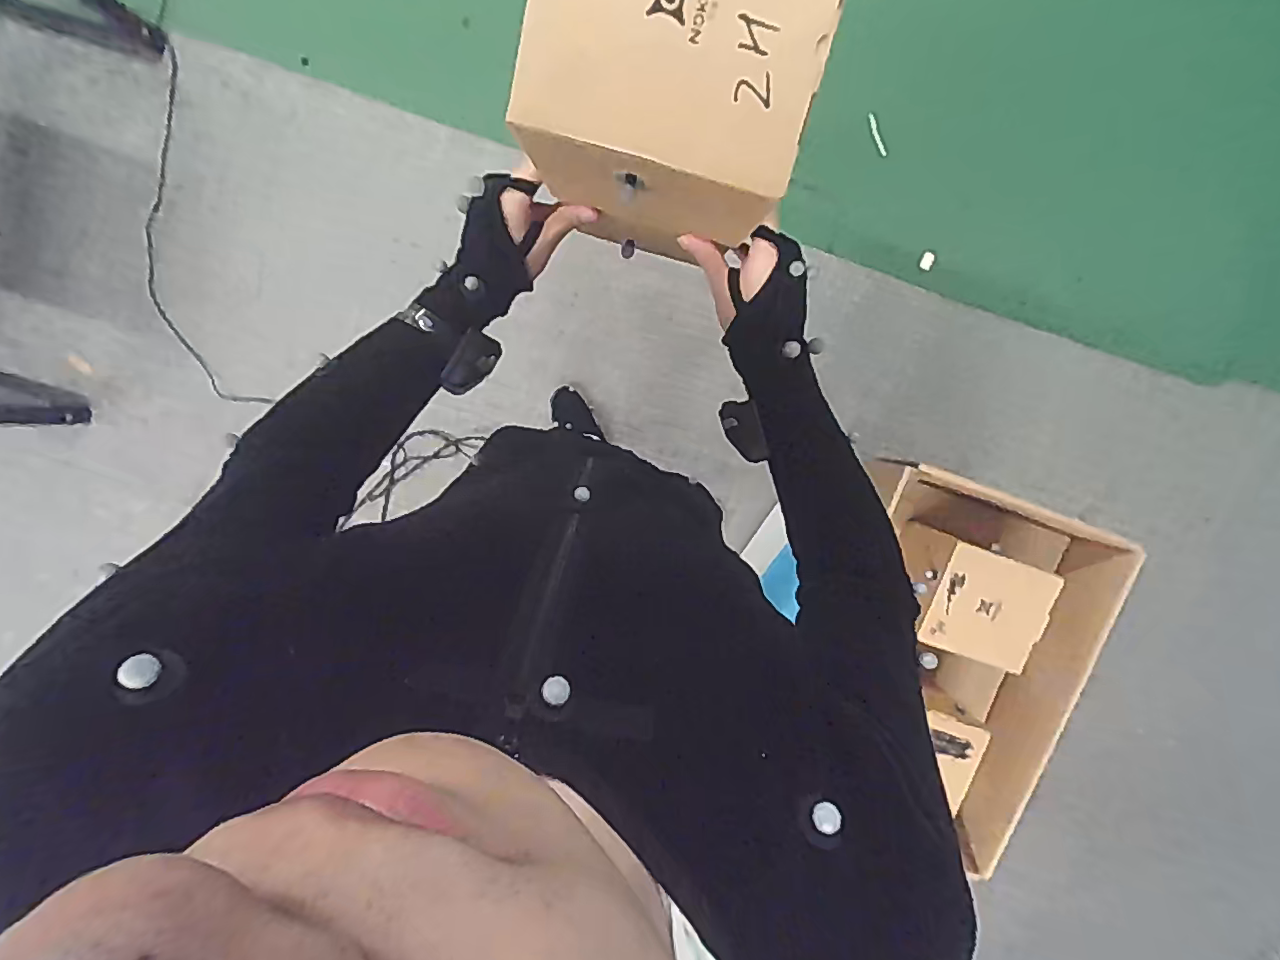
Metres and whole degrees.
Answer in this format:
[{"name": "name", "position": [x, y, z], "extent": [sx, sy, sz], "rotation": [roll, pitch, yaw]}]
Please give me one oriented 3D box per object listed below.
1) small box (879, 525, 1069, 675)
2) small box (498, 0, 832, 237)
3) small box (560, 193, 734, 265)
[{"name": "small box", "position": [0.536, 0.187, 0.895], "extent": [0.179, 0.176, 0.168], "rotation": [20, 97, -2]}, {"name": "small box", "position": [0.020, -0.289, 0.383], "extent": [0.179, 0.176, 0.168], "rotation": [14, 104, -3]}, {"name": "small box", "position": [0.023, -0.333, 0.541], "extent": [0.168, 0.176, 0.179], "rotation": [13, 104, -3]}]
